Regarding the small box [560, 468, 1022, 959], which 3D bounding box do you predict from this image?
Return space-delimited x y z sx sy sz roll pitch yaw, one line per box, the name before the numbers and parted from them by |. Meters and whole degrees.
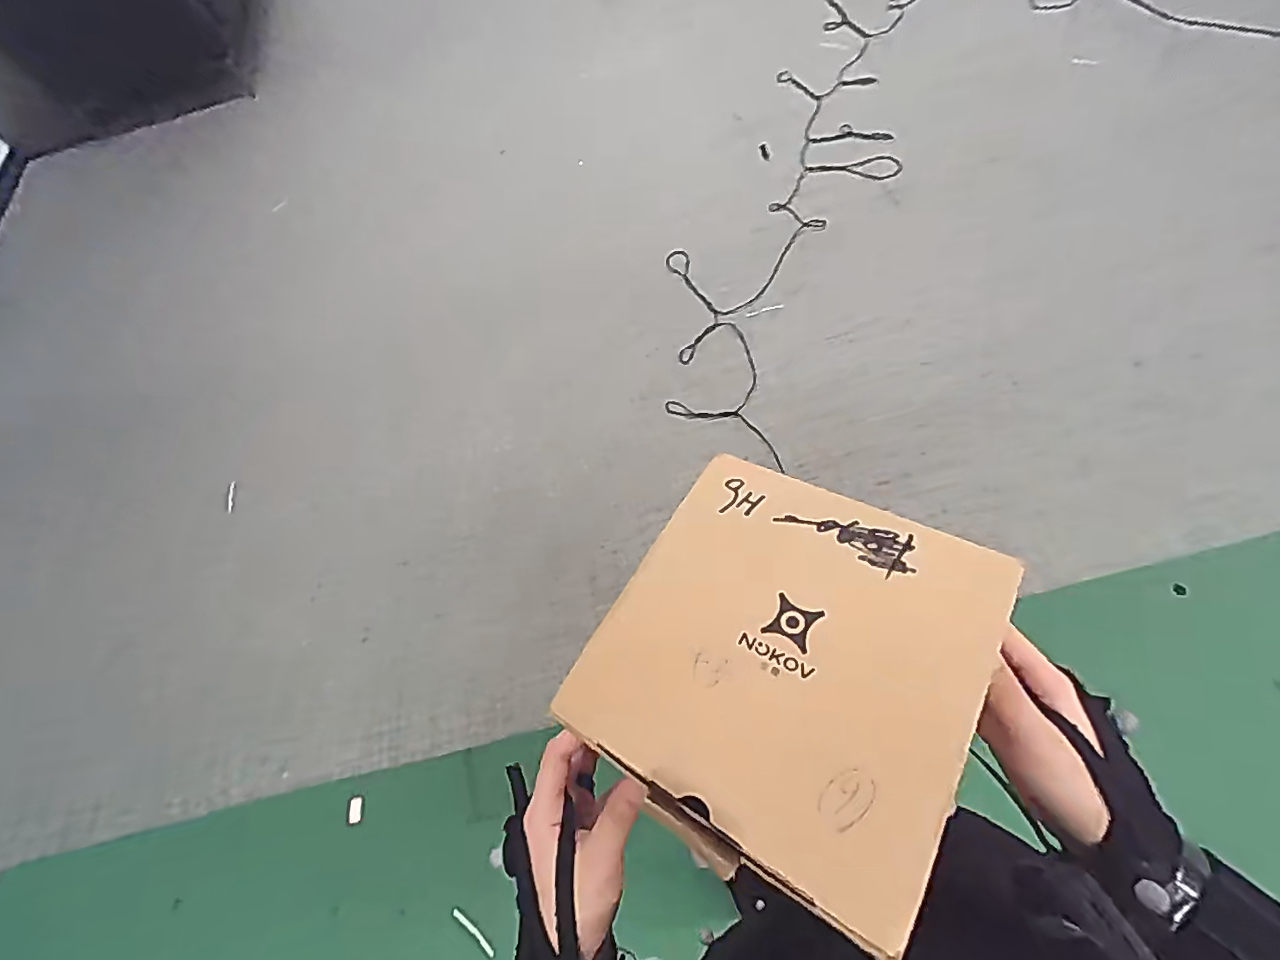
small box | 0.088 0.129 0.324 0.168 0.176 0.179 23 64 28
